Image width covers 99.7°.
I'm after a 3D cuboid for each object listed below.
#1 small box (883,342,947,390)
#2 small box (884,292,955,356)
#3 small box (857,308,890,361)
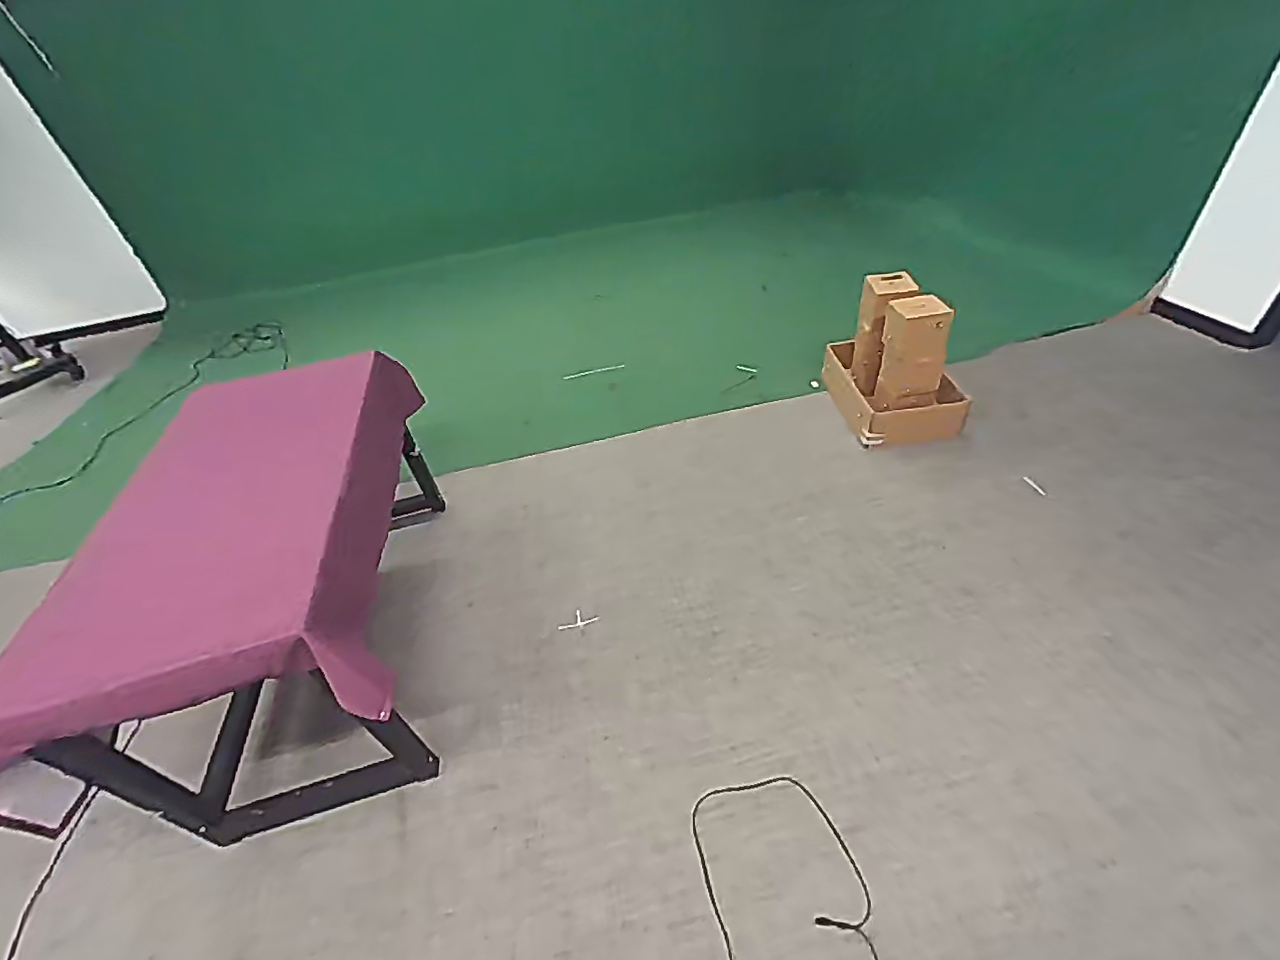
[{"bbox_3d":[1.106,-0.474,2.183,0.168,0.176,0.179,-10,40,2],"label":"small box"},{"bbox_3d":[1.069,-0.600,2.082,0.179,0.176,0.168,-9,40,3],"label":"small box"},{"bbox_3d":[1.067,-0.644,2.386,0.168,0.176,0.179,-2,44,11],"label":"small box"}]
